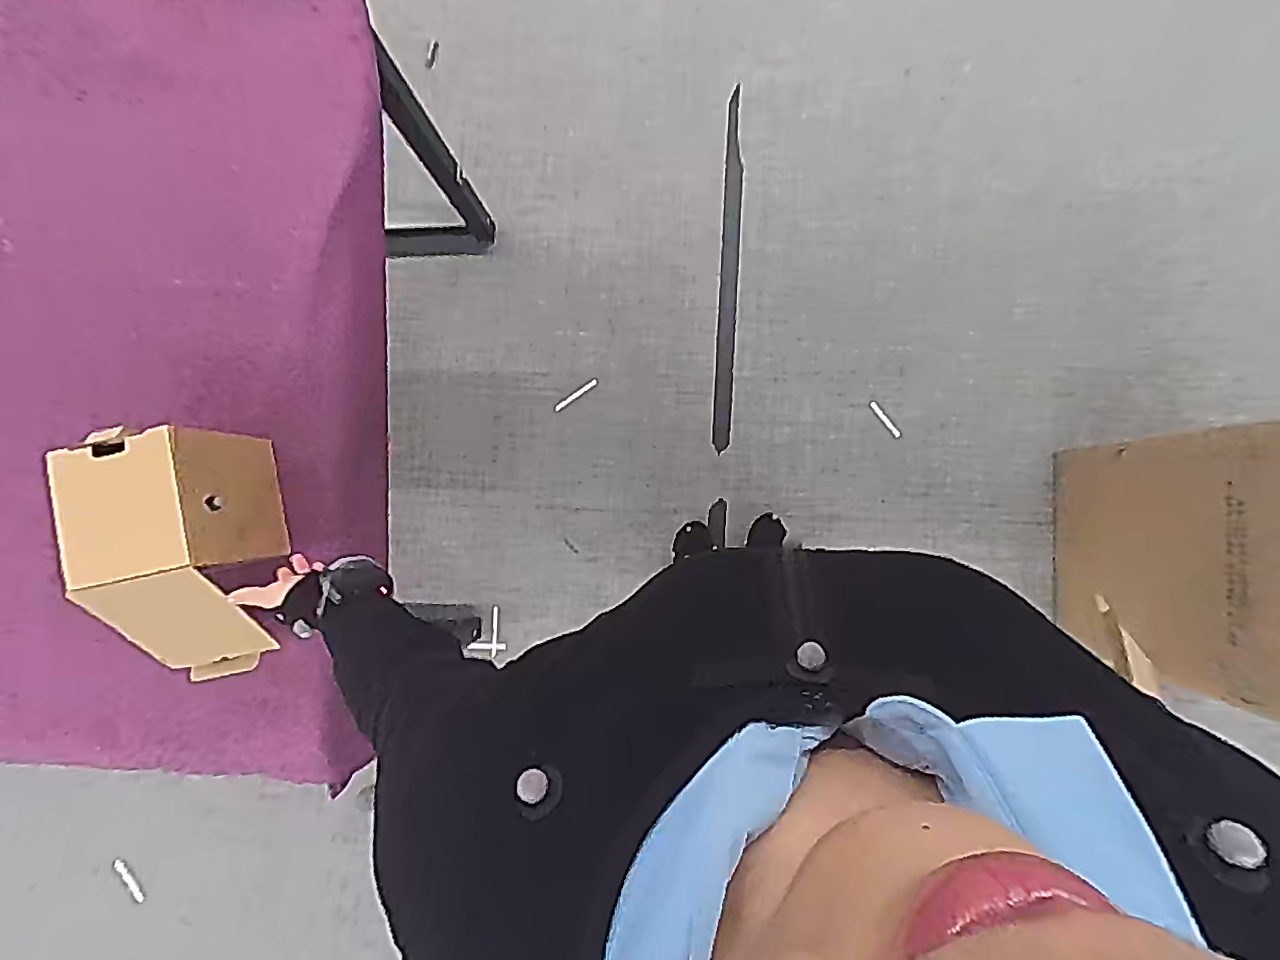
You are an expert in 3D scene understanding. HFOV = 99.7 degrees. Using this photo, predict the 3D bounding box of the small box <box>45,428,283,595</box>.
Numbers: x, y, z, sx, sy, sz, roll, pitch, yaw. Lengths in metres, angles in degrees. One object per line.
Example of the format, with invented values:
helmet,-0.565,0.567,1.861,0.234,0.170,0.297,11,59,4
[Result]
small box,-0.615,0.041,0.721,0.168,0.176,0.179,-12,86,3
